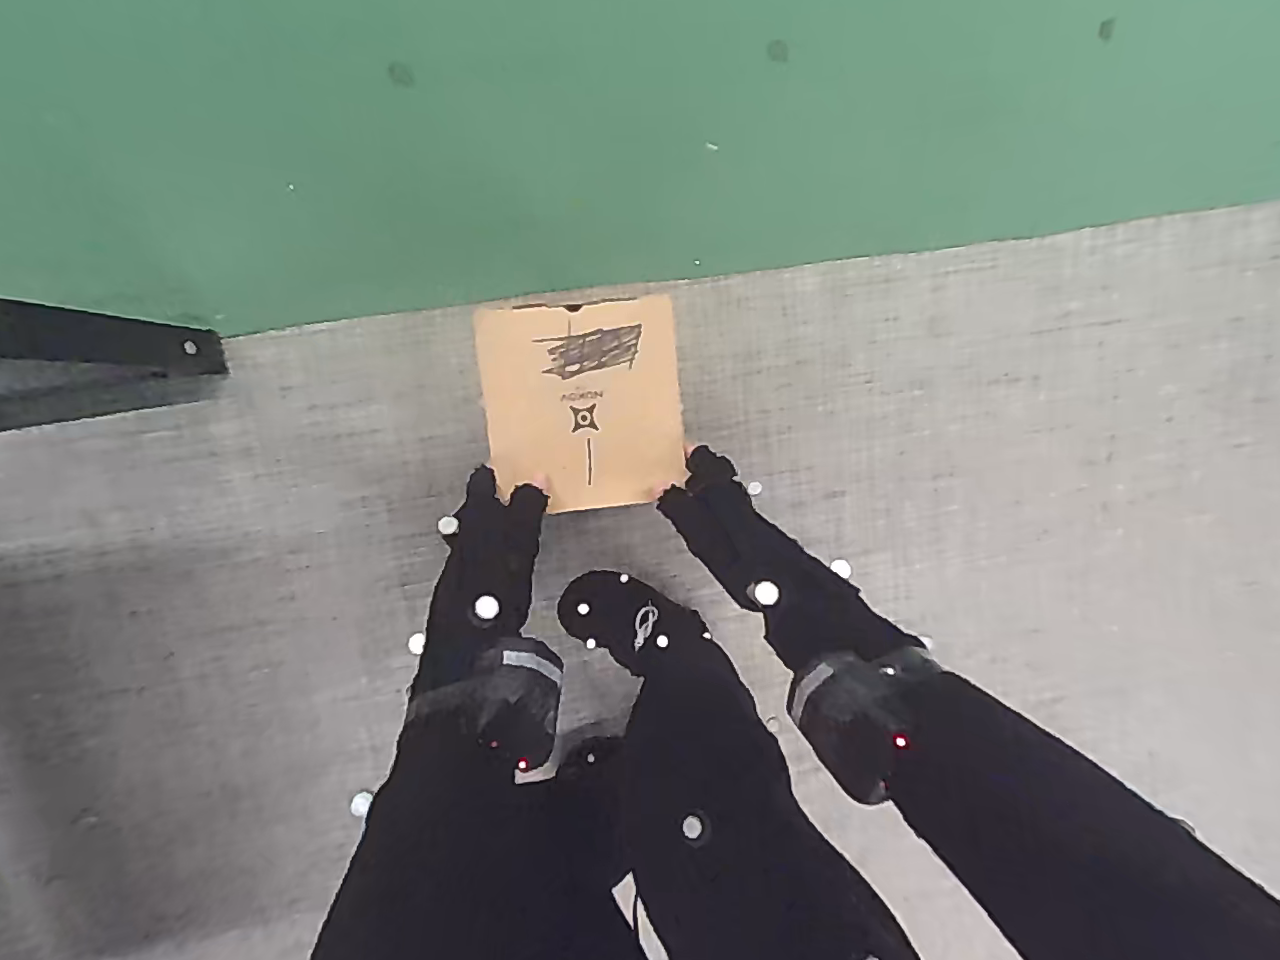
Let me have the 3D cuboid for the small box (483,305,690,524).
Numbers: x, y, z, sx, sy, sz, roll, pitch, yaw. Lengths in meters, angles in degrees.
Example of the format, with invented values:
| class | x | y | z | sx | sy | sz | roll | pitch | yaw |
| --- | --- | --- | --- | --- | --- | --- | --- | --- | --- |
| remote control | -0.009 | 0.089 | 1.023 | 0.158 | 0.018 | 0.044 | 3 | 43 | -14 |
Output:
| class | x | y | z | sx | sy | sz | roll | pitch | yaw |
| --- | --- | --- | --- | --- | --- | --- | --- | --- | --- |
| small box | -0.050 | -0.061 | 0.535 | 0.168 | 0.176 | 0.179 | -6 | 96 | -4 |
